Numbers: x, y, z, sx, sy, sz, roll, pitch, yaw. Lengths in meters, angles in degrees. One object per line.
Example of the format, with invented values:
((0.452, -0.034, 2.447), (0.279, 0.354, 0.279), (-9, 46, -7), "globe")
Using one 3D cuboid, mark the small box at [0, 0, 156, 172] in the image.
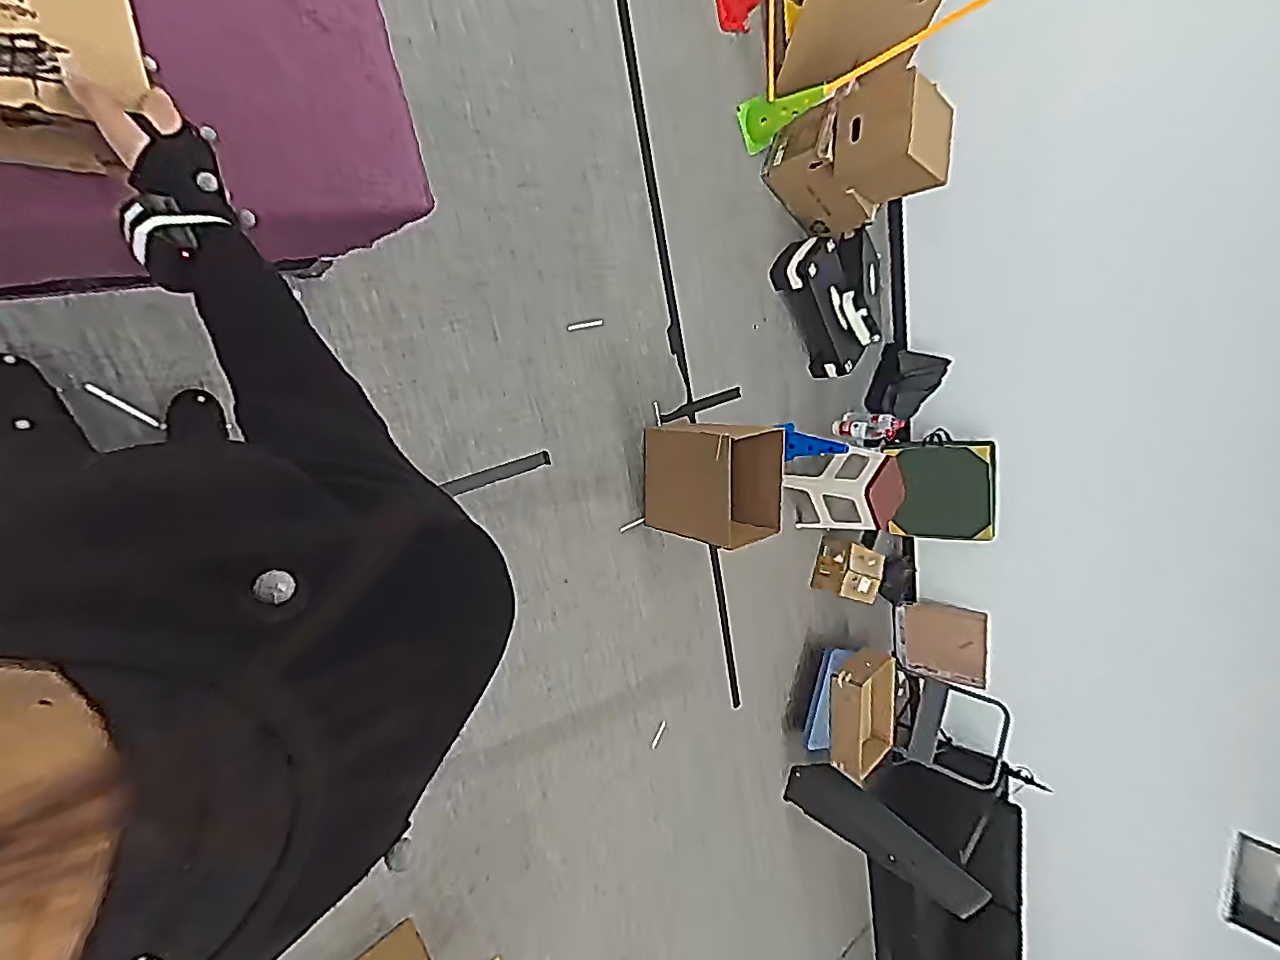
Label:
((-0.567, -0.400, 0.487), (0.168, 0.176, 0.179), (-17, 109, -42), "small box")
